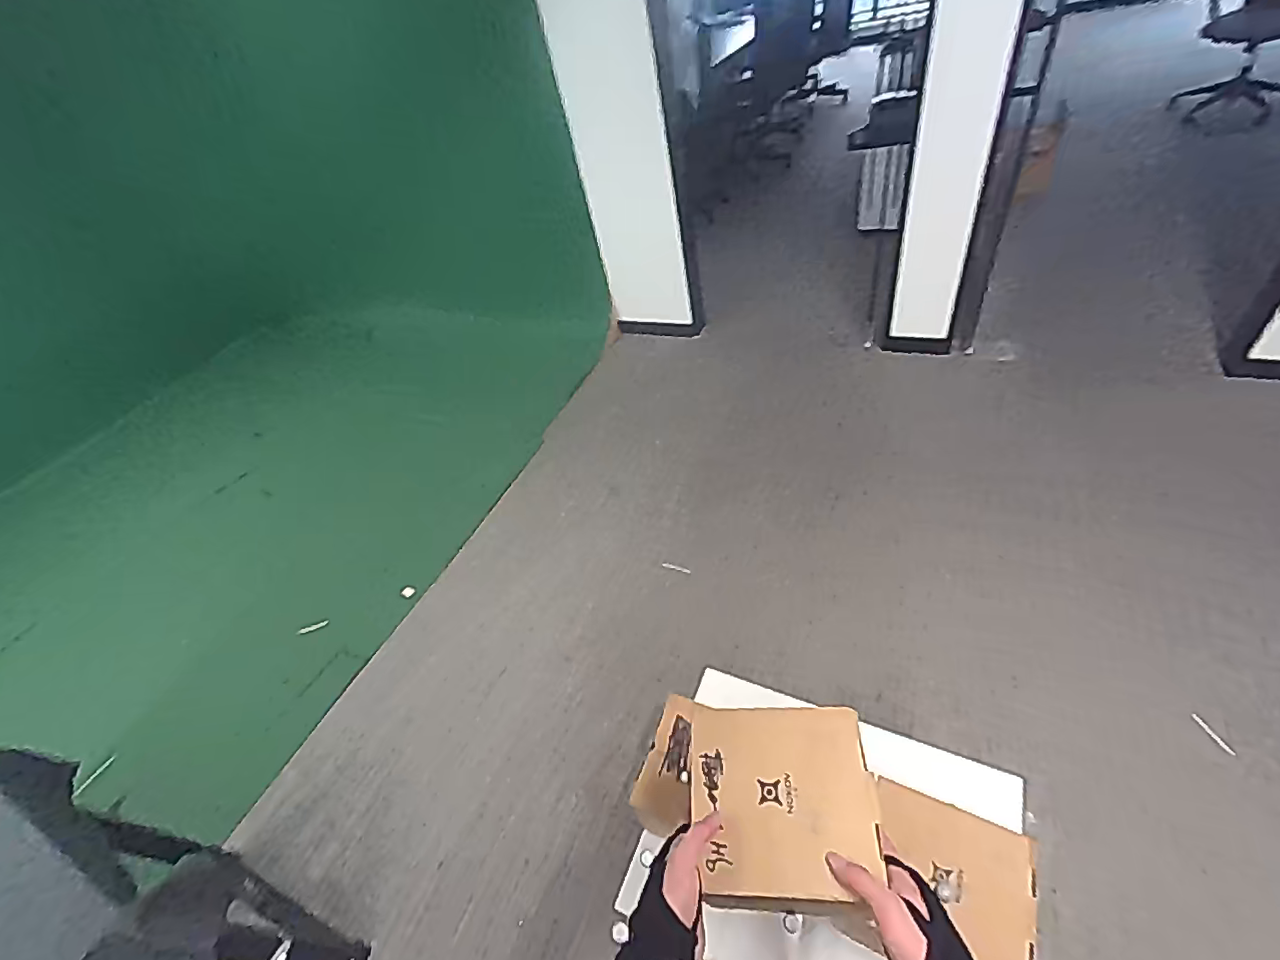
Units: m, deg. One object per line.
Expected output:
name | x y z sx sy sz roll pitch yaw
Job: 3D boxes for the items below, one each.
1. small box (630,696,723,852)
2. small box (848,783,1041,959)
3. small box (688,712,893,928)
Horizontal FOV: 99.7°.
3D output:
small box | 0.109 0.457 0.804 0.179 0.176 0.168 12 51 23
small box | 0.369 0.520 0.673 0.179 0.176 0.168 11 49 28
small box | 0.149 0.362 0.578 0.179 0.176 0.168 -5 46 11
